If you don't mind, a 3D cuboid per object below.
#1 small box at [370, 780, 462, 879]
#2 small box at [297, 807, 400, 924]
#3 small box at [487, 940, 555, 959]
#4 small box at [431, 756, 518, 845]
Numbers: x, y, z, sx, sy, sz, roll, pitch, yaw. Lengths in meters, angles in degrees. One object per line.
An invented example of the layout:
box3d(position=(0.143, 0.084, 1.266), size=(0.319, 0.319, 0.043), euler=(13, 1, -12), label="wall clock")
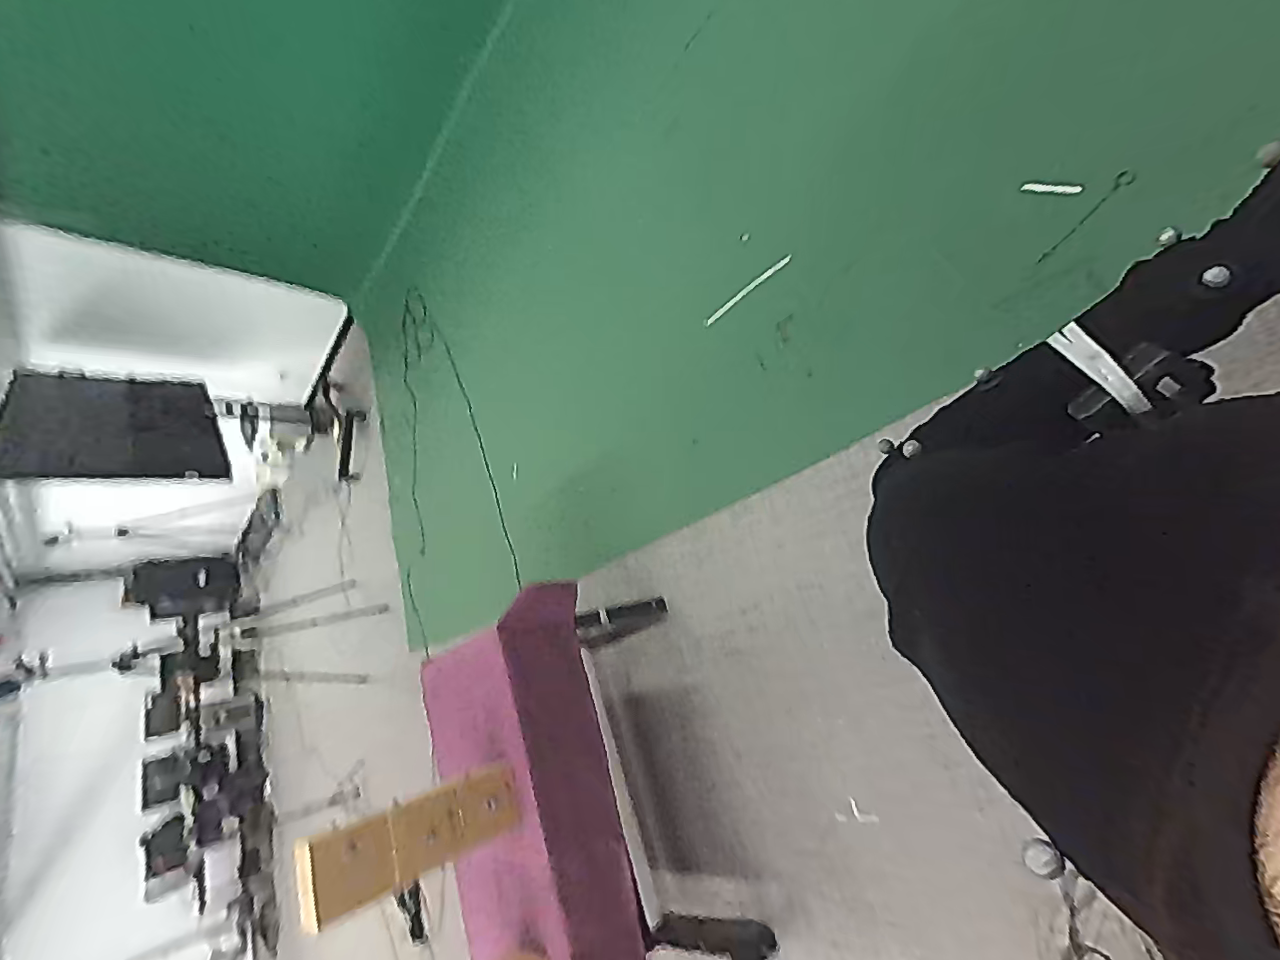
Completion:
box3d(position=(-0.573, 0.893, 1.394), size=(0.179, 0.176, 0.168), euler=(-34, 66, 40), label="small box")
box3d(position=(-0.691, 0.898, 1.281), size=(0.168, 0.176, 0.179), euler=(-35, 67, 41), label="small box")
box3d(position=(-0.318, 1.312, 1.366), size=(0.179, 0.176, 0.168), euler=(-31, 68, 40), label="small box")
box3d(position=(-0.456, 0.890, 1.511), size=(0.179, 0.176, 0.168), euler=(-33, 67, 40), label="small box")
